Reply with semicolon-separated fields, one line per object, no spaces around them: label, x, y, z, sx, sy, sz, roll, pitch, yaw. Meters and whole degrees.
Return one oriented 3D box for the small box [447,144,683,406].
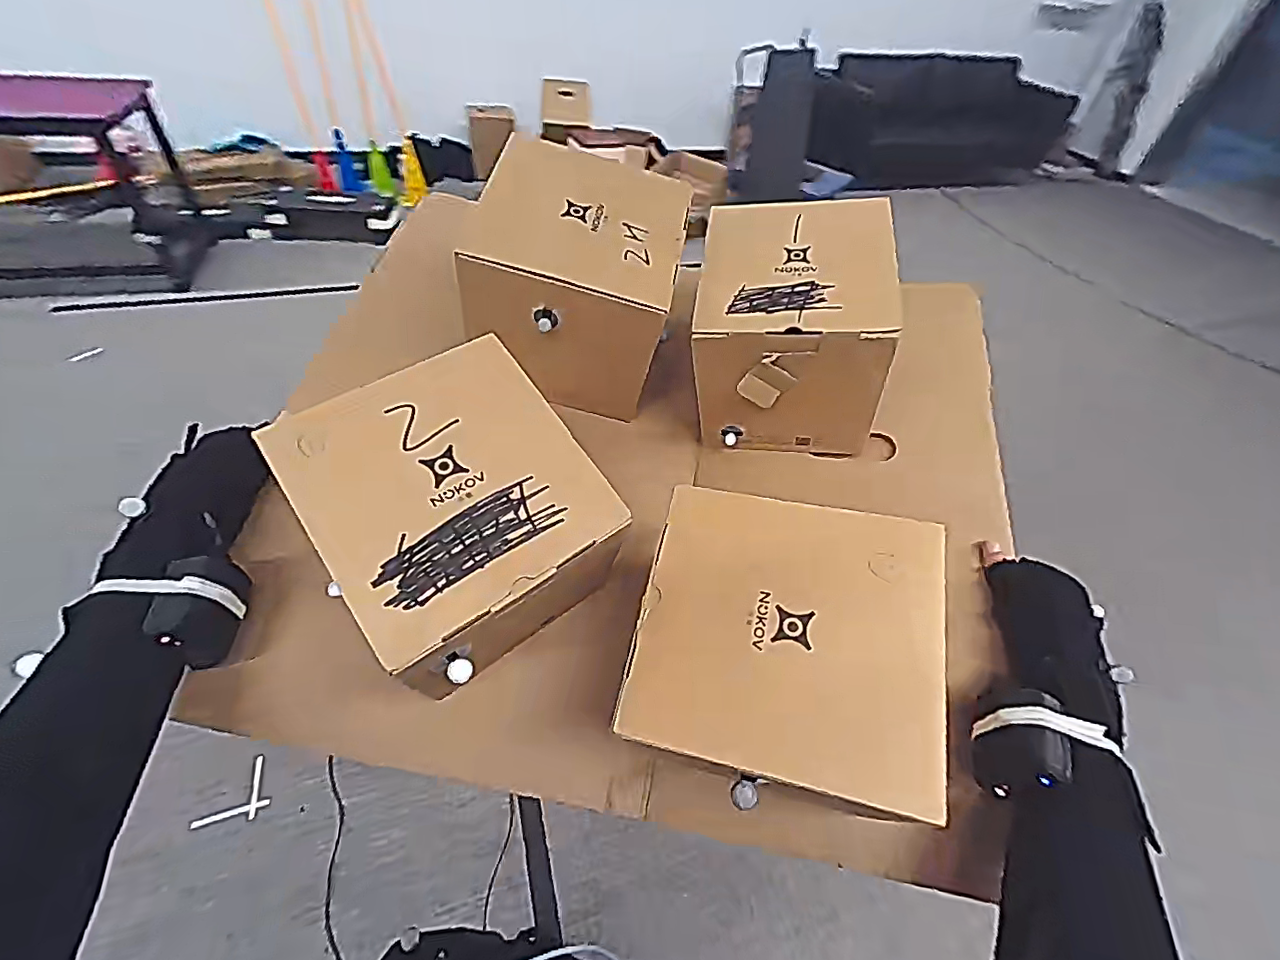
small box;-0.061;-0.191;0.534;0.179;0.176;0.168;9;65;1

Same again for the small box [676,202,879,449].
small box;0.137;-0.147;0.546;0.168;0.176;0.179;4;60;13
